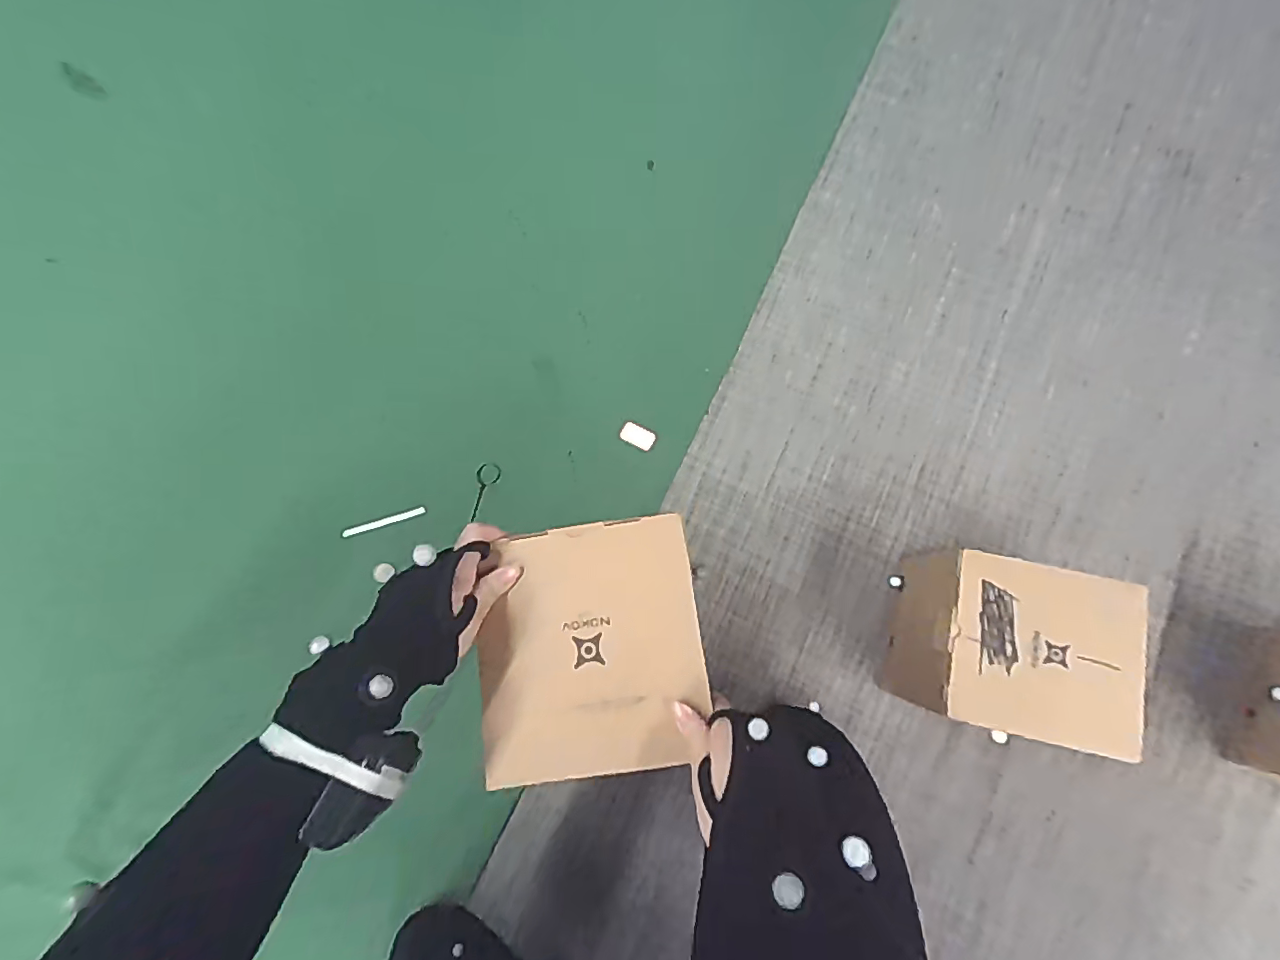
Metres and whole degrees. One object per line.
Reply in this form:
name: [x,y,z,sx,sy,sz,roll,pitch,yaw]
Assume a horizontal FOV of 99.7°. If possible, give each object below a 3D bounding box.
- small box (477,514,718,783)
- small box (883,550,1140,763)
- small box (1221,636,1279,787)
small box: [-0.031,0.138,0.474,0.168,0.176,0.179,-9,77,3]
small box: [0.390,0.183,0.596,0.179,0.176,0.168,12,78,6]
small box: [0.776,0.268,0.547,0.179,0.176,0.168,24,79,9]
